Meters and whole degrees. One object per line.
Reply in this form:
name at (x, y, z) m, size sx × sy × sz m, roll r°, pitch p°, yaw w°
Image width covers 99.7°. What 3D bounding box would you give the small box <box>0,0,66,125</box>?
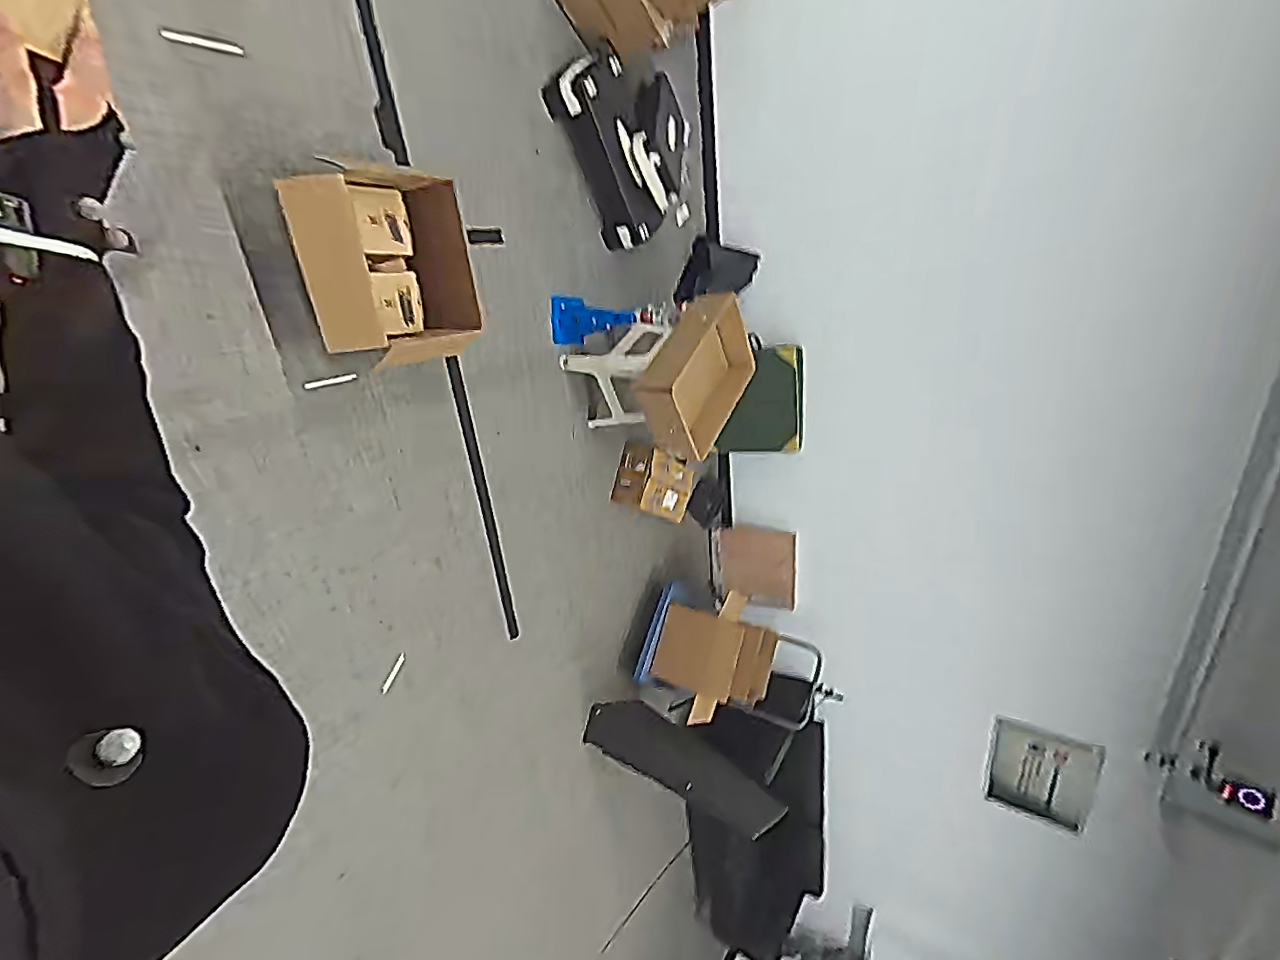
small box at (-0.545, -0.412, 0.395) m, size 0.168 × 0.176 × 0.179 m, roll 8°, pitch 88°, yaw -53°
